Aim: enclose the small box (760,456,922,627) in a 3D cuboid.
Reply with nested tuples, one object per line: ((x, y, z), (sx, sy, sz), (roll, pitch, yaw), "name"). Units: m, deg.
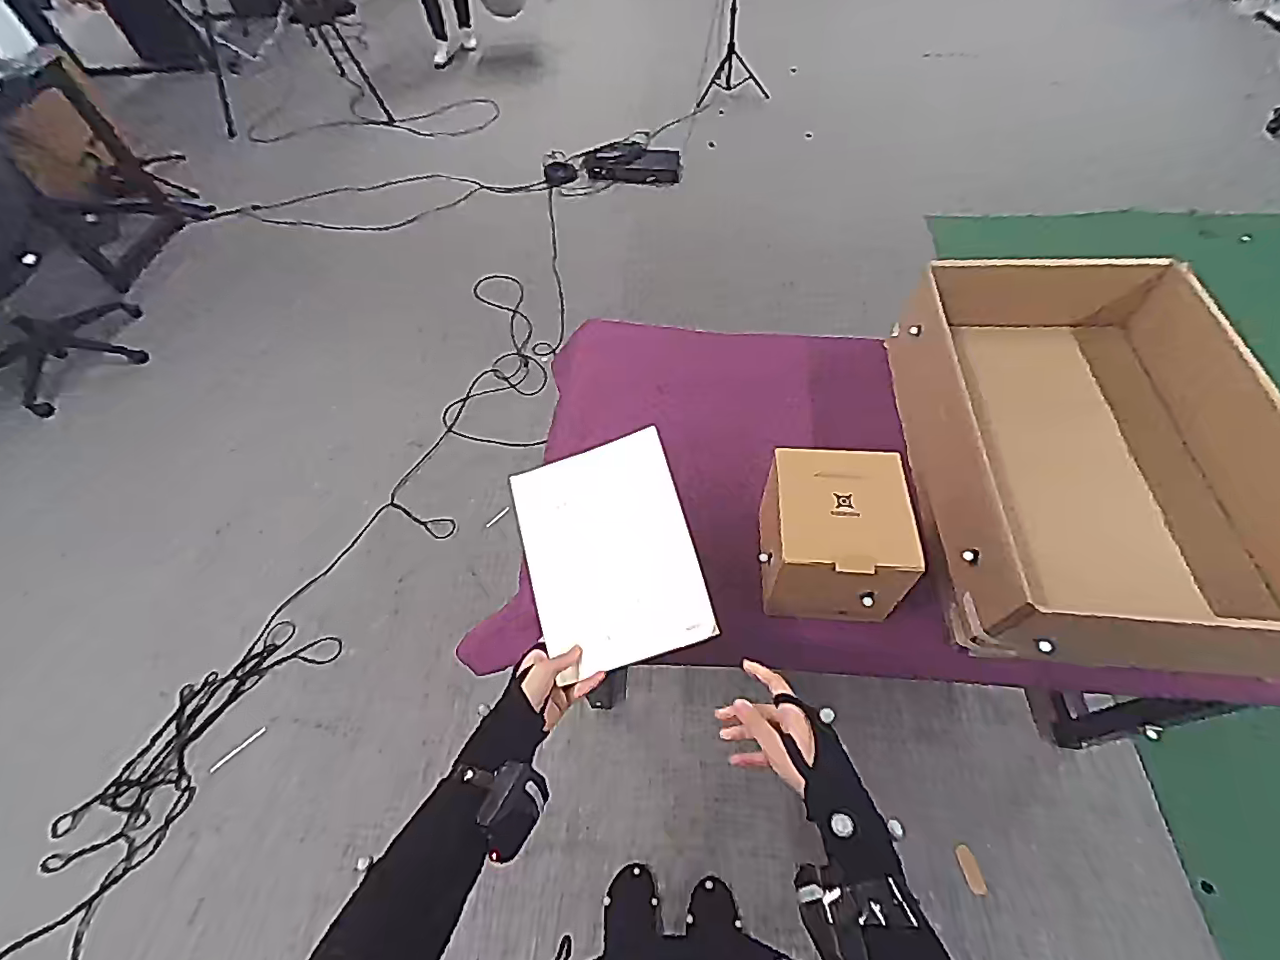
((0.260, 0.088, 0.744), (0.168, 0.176, 0.179), (3, 54, 5), "small box")
